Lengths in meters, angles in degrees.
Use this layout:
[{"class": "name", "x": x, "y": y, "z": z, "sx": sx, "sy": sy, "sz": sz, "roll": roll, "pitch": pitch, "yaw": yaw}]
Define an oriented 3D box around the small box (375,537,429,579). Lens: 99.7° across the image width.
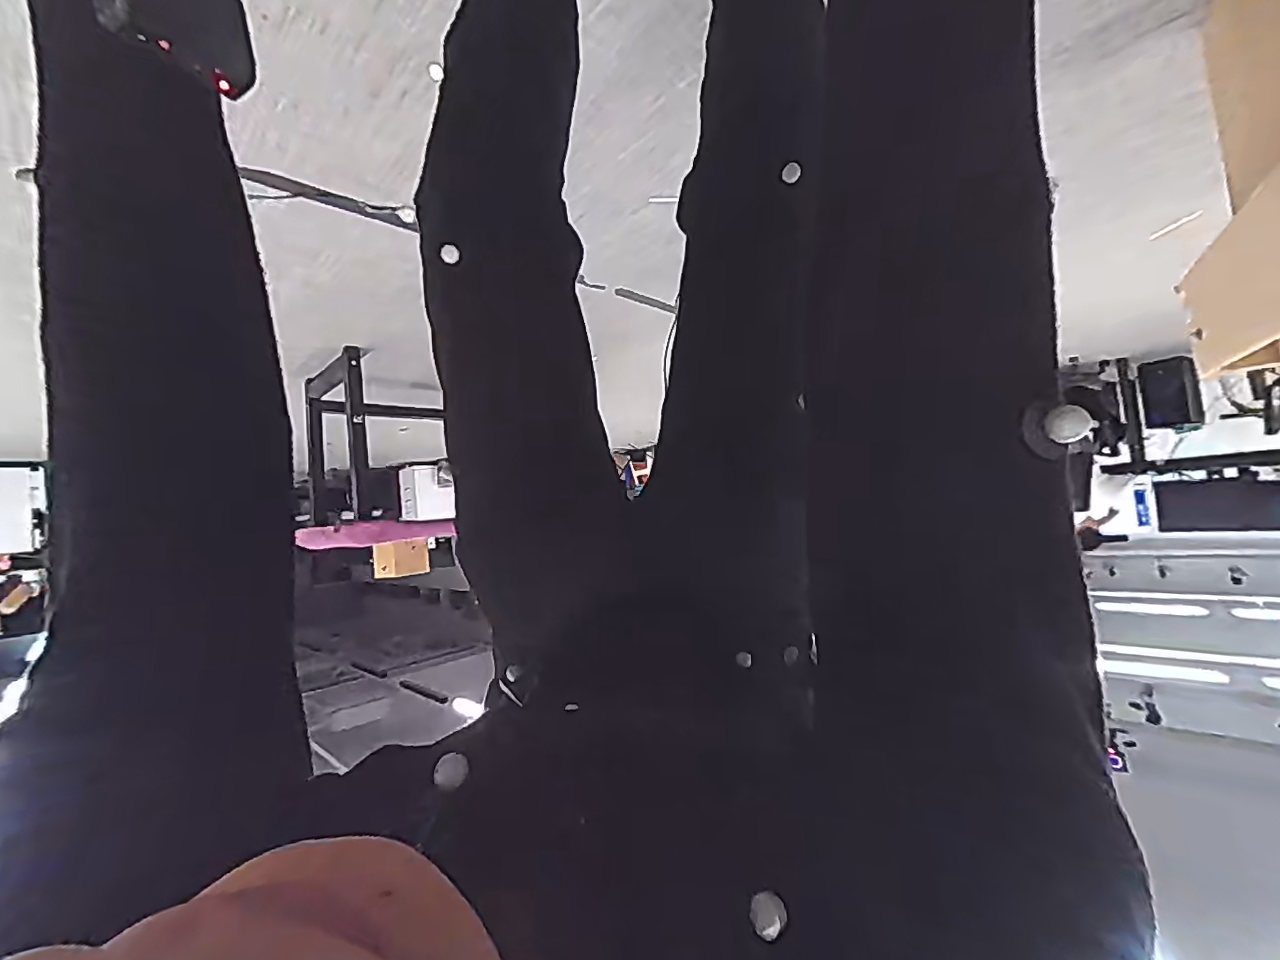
[{"class": "small box", "x": -1.069, "y": 0.348, "z": 2.421, "sx": 0.179, "sy": 0.176, "sz": 0.168, "roll": -10, "pitch": 175, "yaw": 37}]
